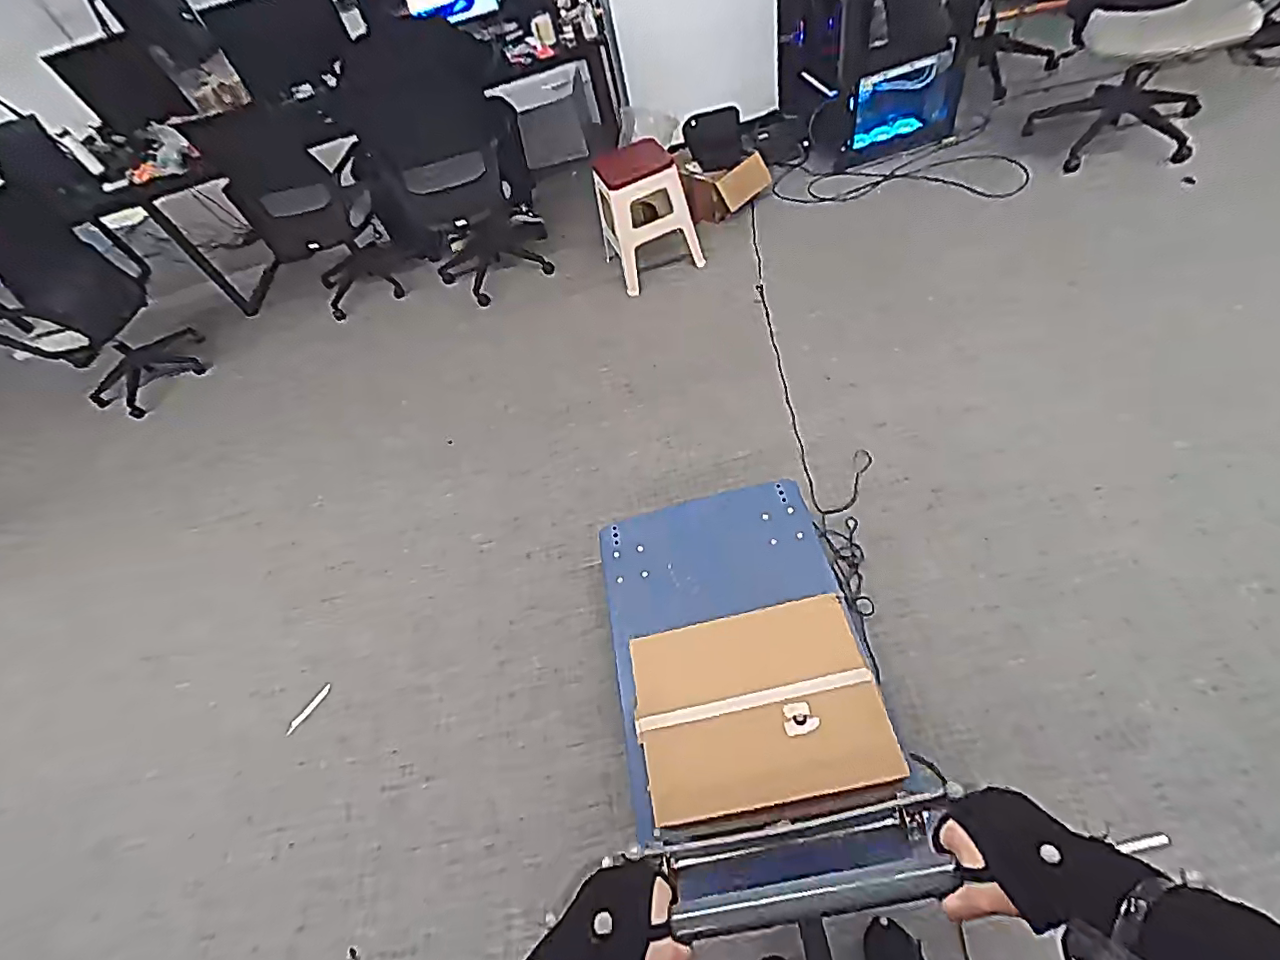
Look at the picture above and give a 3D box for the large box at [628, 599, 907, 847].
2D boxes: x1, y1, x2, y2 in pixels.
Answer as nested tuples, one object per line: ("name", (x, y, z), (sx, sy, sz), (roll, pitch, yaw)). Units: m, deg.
("large box", (0.221, 0.475, 1.035), (0.408, 0.320, 0.320), (-15, 53, 4))
